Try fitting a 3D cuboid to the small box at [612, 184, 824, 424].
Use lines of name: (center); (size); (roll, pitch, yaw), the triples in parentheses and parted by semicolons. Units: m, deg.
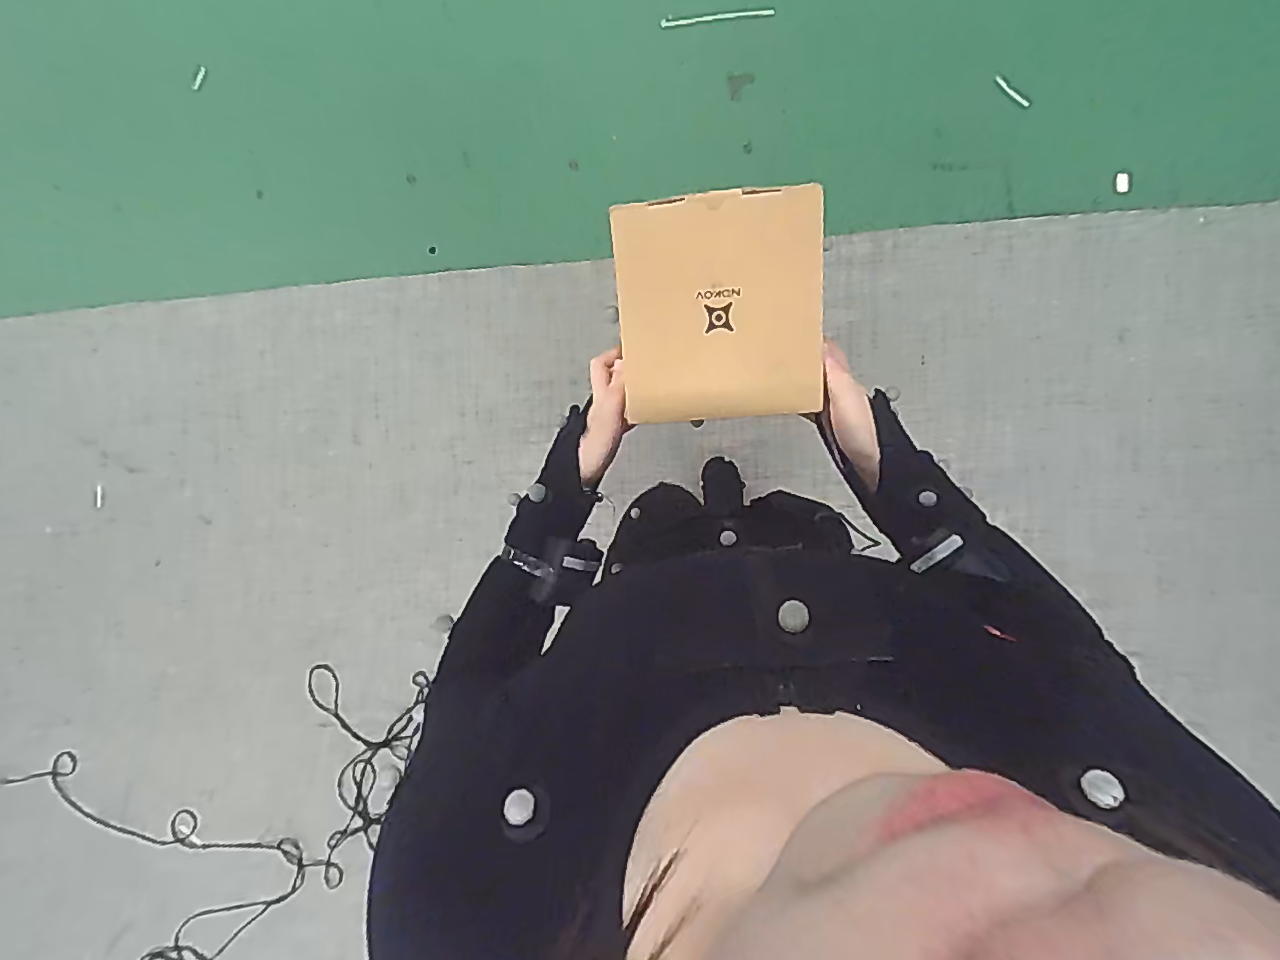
small box: (0.072, -0.155, 0.513); (0.168, 0.176, 0.179); (-3, 103, 6)
